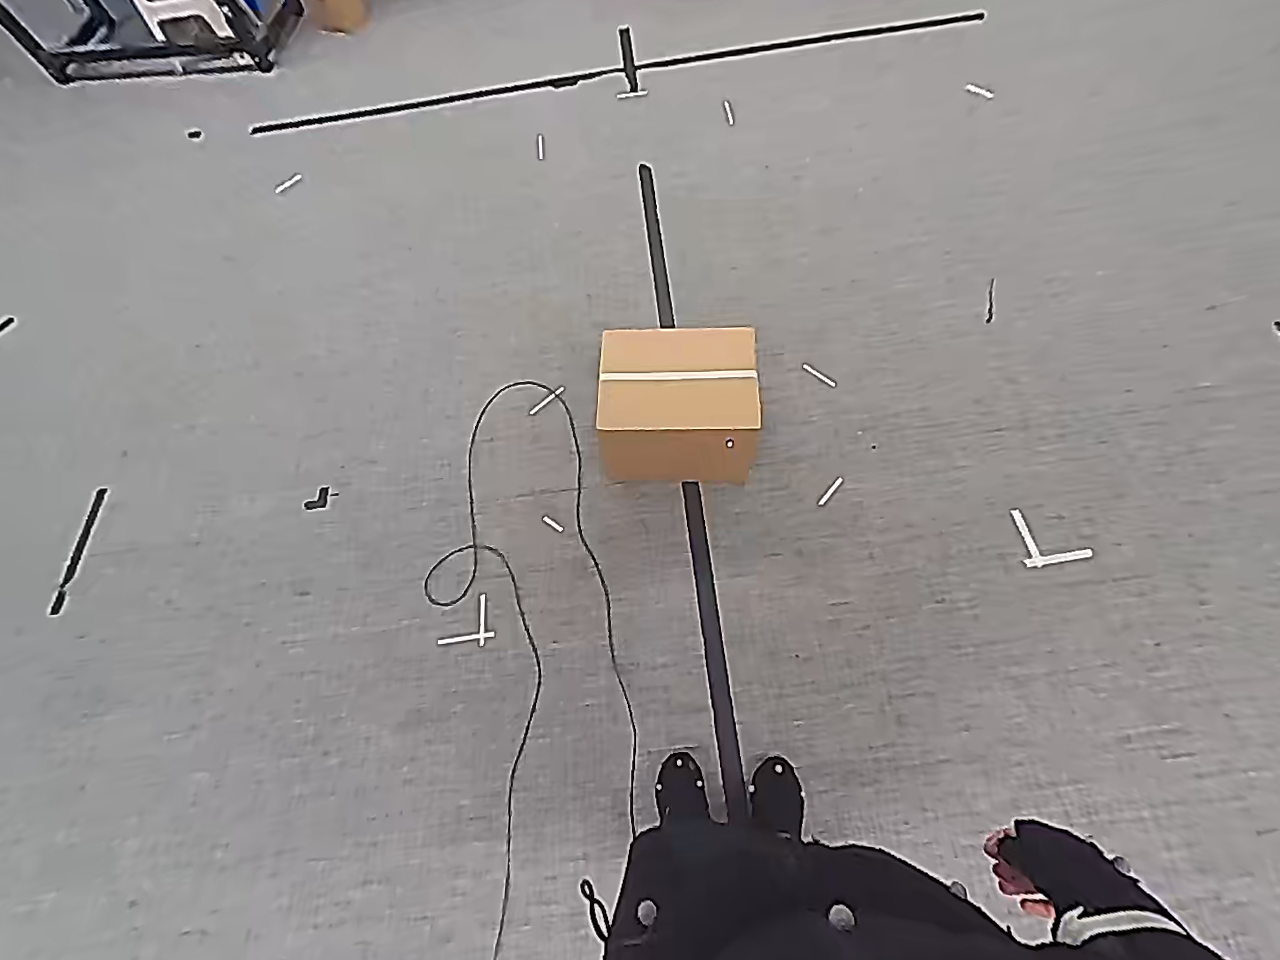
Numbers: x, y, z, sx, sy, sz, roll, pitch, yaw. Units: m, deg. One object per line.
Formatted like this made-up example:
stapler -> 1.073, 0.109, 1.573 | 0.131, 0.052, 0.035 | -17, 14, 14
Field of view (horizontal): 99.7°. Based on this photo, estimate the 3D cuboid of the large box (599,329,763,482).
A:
large box -> 0.111, -0.194, 1.507 | 0.408, 0.320, 0.320 | 0, 65, 4
